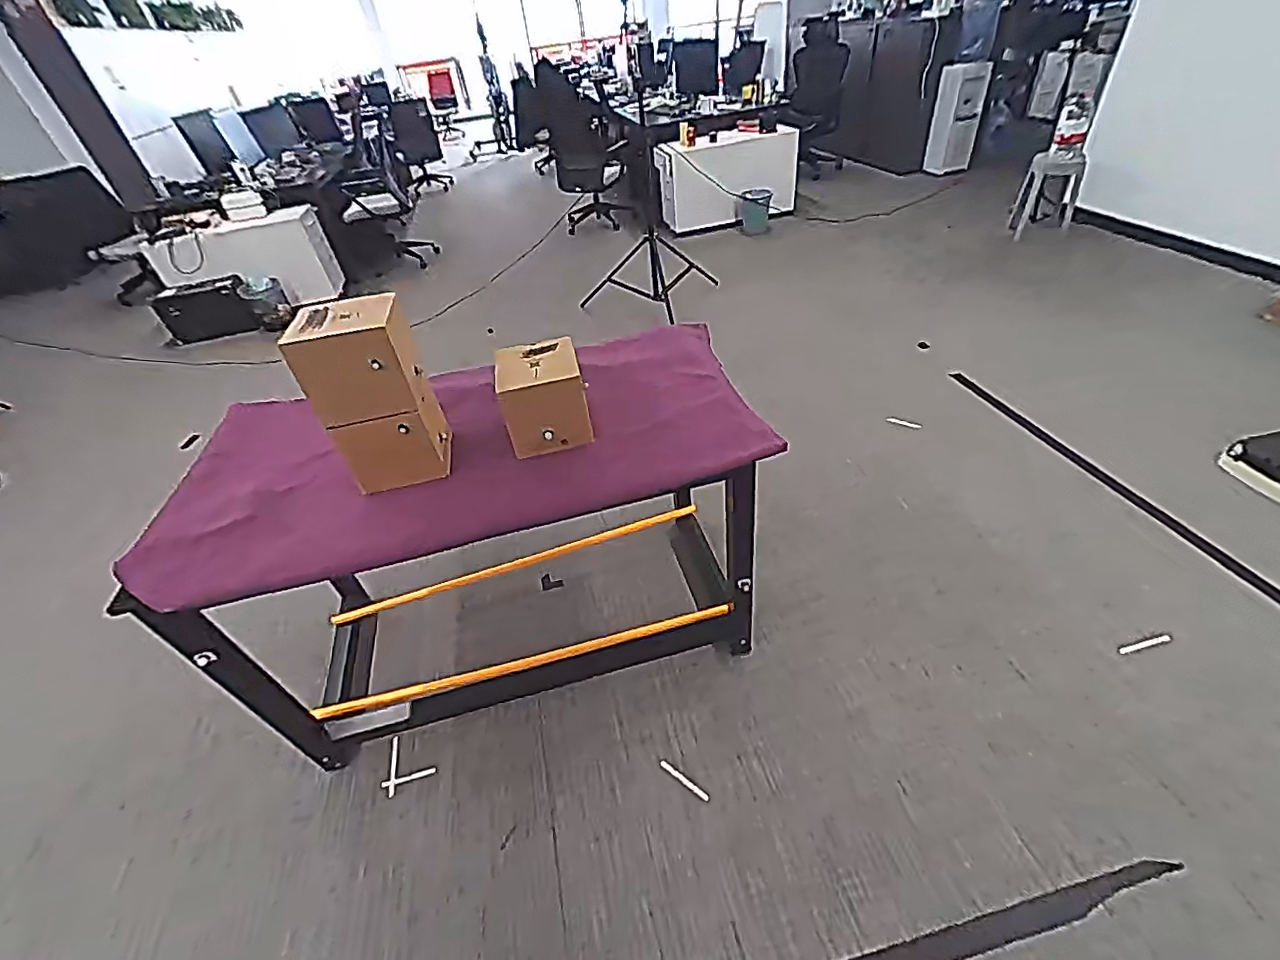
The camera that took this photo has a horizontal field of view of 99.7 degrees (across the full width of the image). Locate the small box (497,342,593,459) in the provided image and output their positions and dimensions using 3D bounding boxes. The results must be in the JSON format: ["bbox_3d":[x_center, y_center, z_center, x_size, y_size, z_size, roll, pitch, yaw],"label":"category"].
[{"bbox_3d":[-0.200,-0.169,1.150,0.168,0.176,0.179,-12,41,-5],"label":"small box"}]

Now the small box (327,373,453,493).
[{"bbox_3d":[-0.504,-0.095,1.114,0.179,0.176,0.168,-13,40,-7],"label":"small box"}]
